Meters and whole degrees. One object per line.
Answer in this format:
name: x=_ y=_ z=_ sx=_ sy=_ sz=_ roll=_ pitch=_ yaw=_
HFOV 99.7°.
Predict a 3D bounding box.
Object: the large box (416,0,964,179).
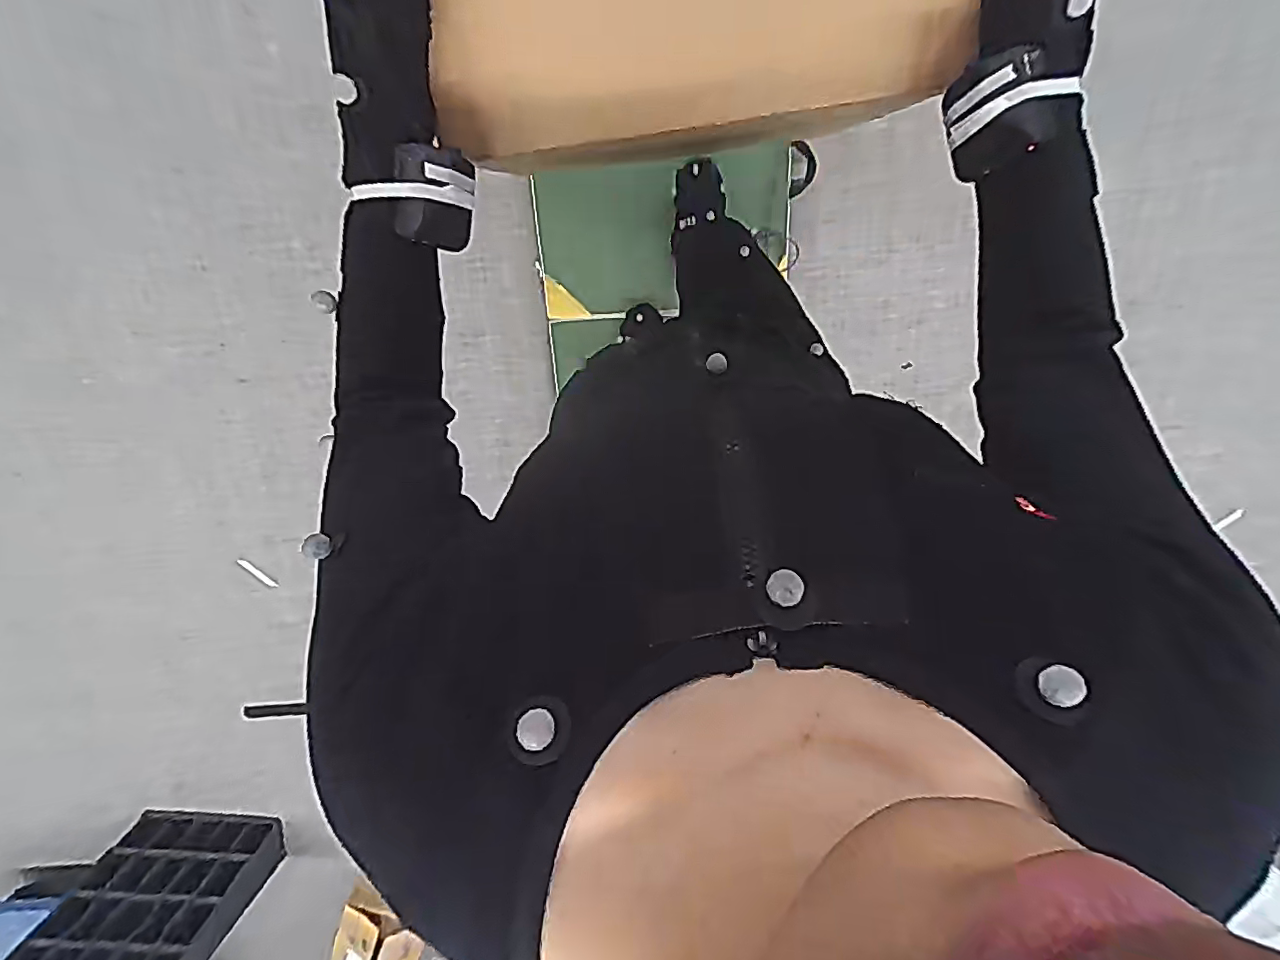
large box: x=0.022 y=-0.487 z=0.492 sx=0.408 sy=0.320 sz=0.320 roll=-7 pitch=117 yaw=3
